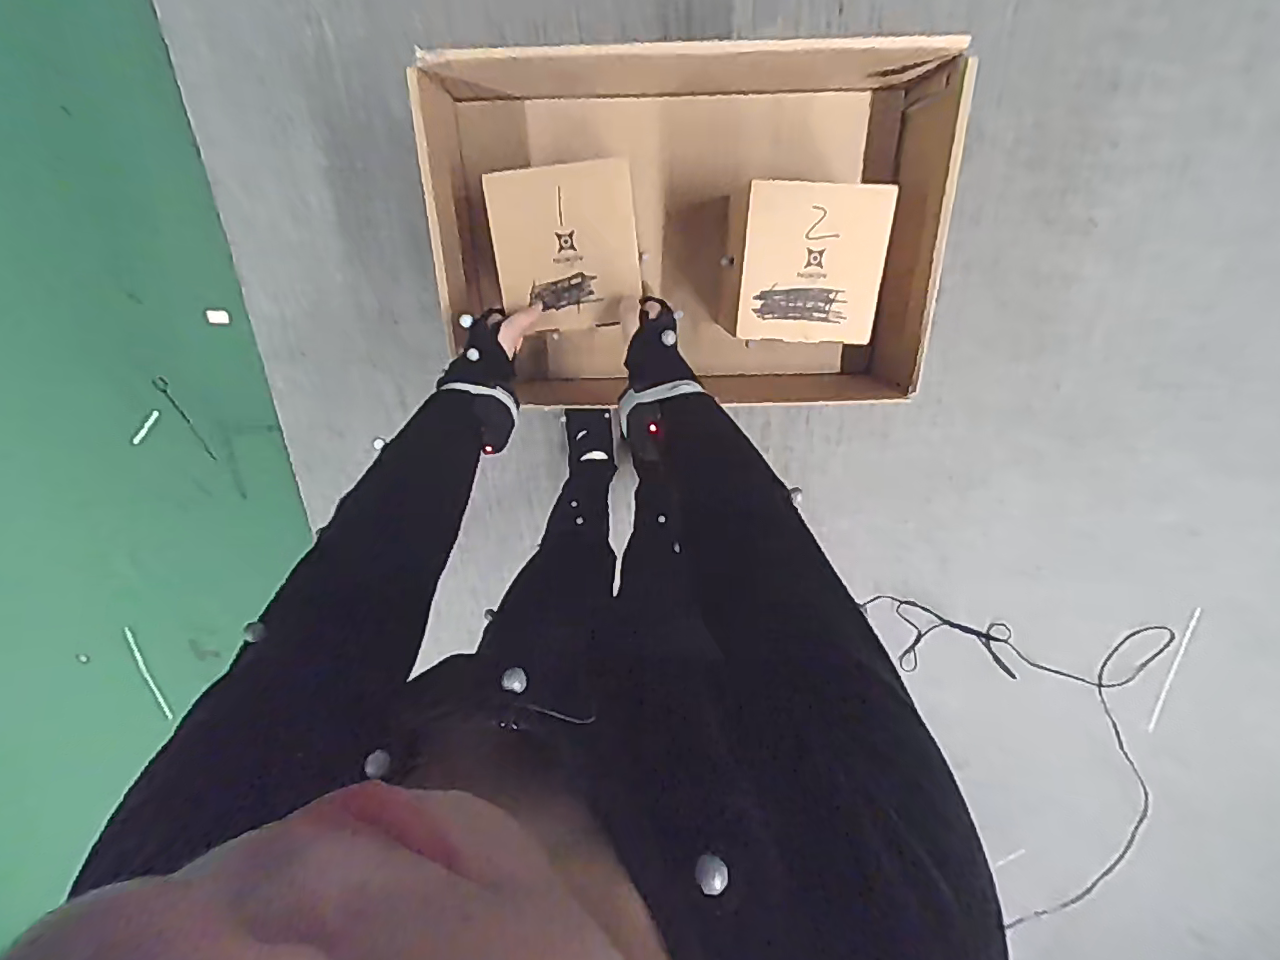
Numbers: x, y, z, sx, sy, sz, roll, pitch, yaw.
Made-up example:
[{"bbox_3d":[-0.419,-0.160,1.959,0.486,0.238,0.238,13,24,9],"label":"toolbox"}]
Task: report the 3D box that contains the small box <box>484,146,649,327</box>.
[{"bbox_3d":[-0.080,-0.294,0.688,0.168,0.176,0.179,-5,105,4],"label":"small box"}]
